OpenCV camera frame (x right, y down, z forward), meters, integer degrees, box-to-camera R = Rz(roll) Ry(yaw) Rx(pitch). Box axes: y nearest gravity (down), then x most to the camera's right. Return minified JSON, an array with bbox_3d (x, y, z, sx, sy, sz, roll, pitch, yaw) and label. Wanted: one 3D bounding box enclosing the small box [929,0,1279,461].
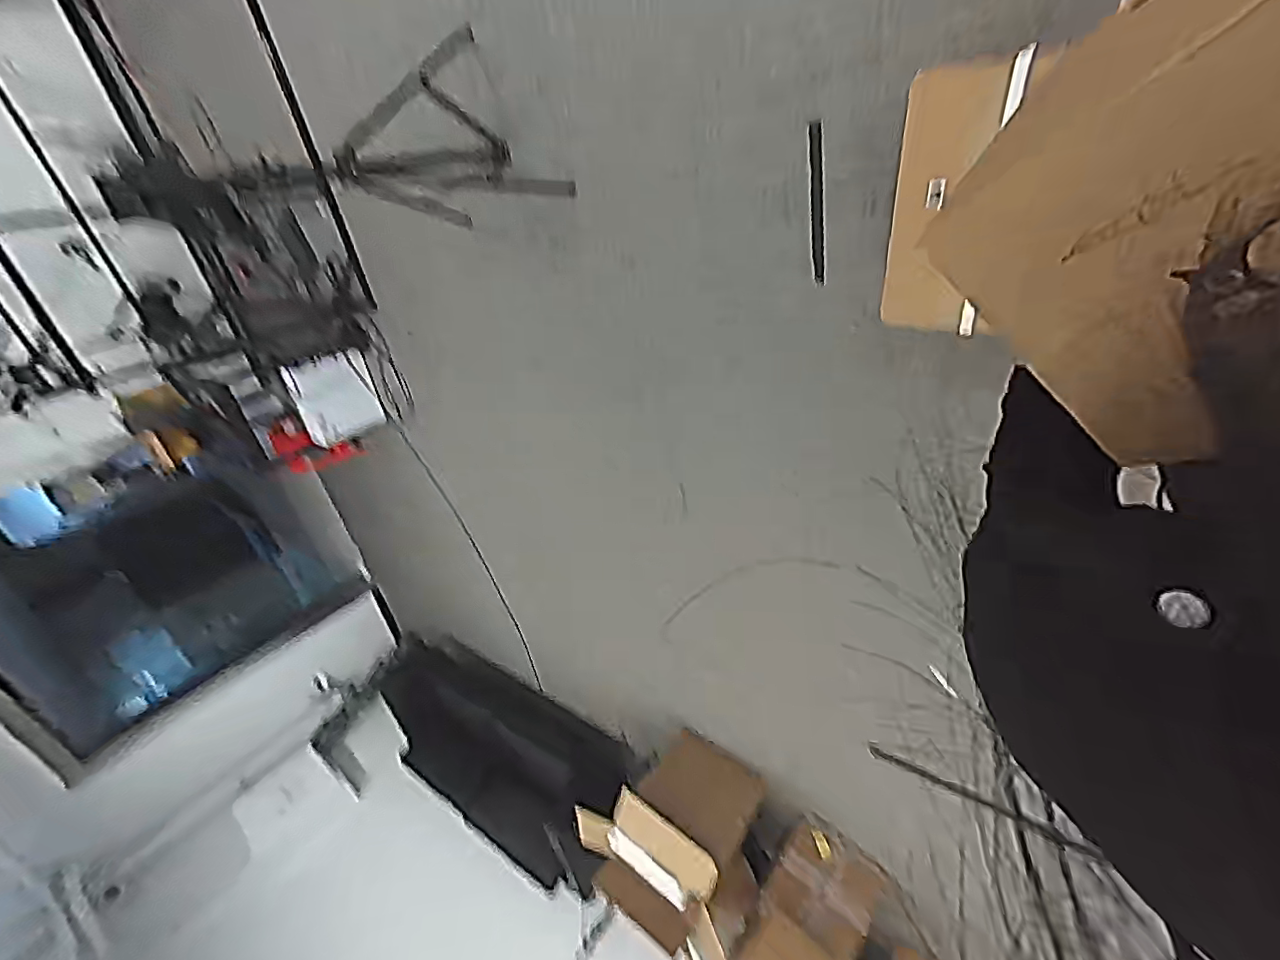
[{"bbox_3d":[0.279,-0.137,0.230,0.179,0.176,0.168,42,161,-8],"label":"small box"}]
